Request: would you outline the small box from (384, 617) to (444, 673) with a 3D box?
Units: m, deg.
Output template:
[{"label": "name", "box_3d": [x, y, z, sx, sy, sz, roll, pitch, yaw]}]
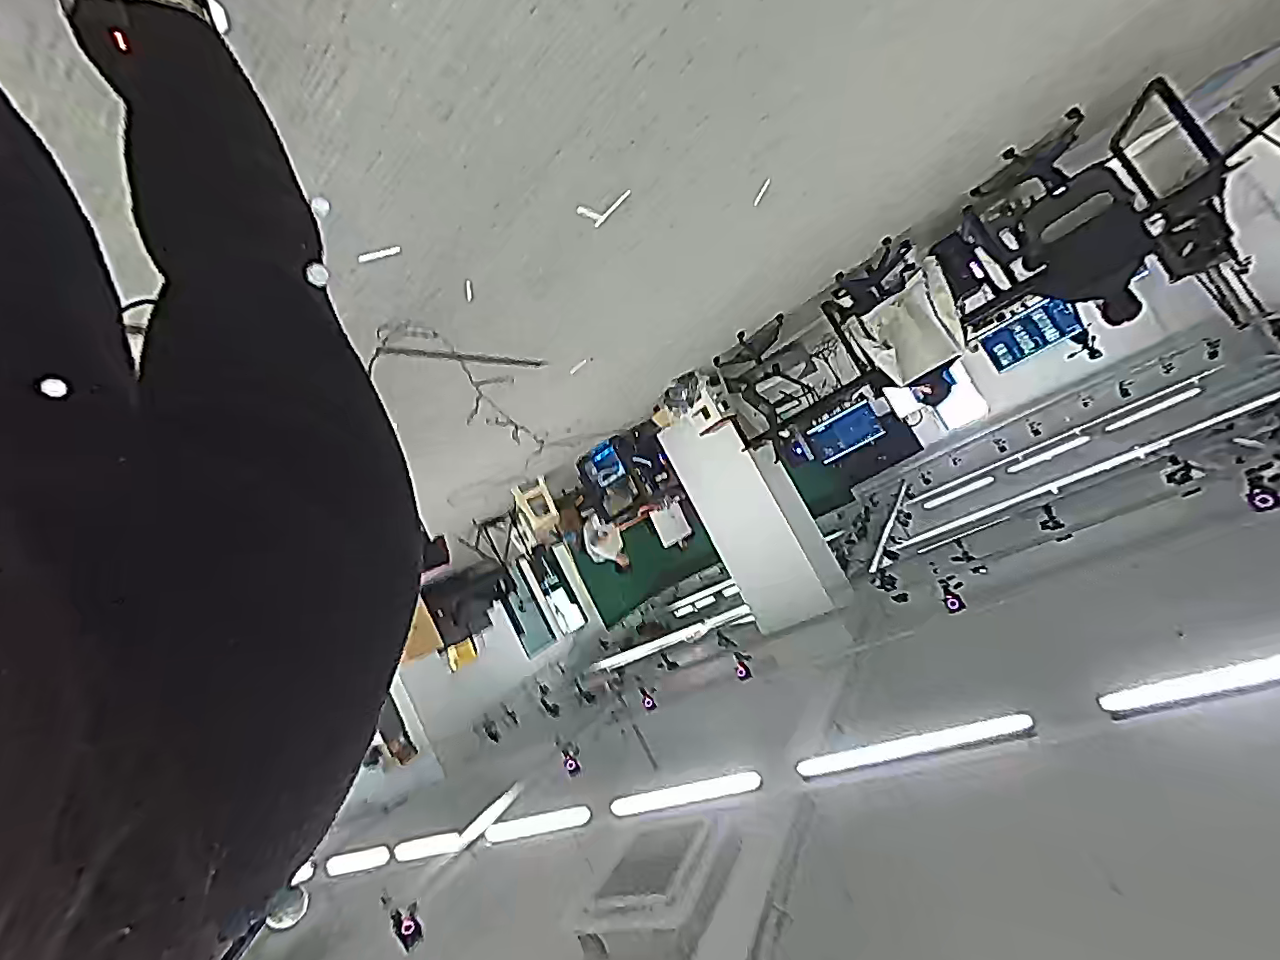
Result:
[{"label": "small box", "box_3d": [-1.051, 0.760, 2.503, 0.168, 0.176, 0.179, -32, 172, 35]}]

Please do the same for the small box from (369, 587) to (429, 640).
[{"label": "small box", "box_3d": [-1.125, 0.614, 2.513, 0.179, 0.176, 0.168, -32, 173, 33]}]
